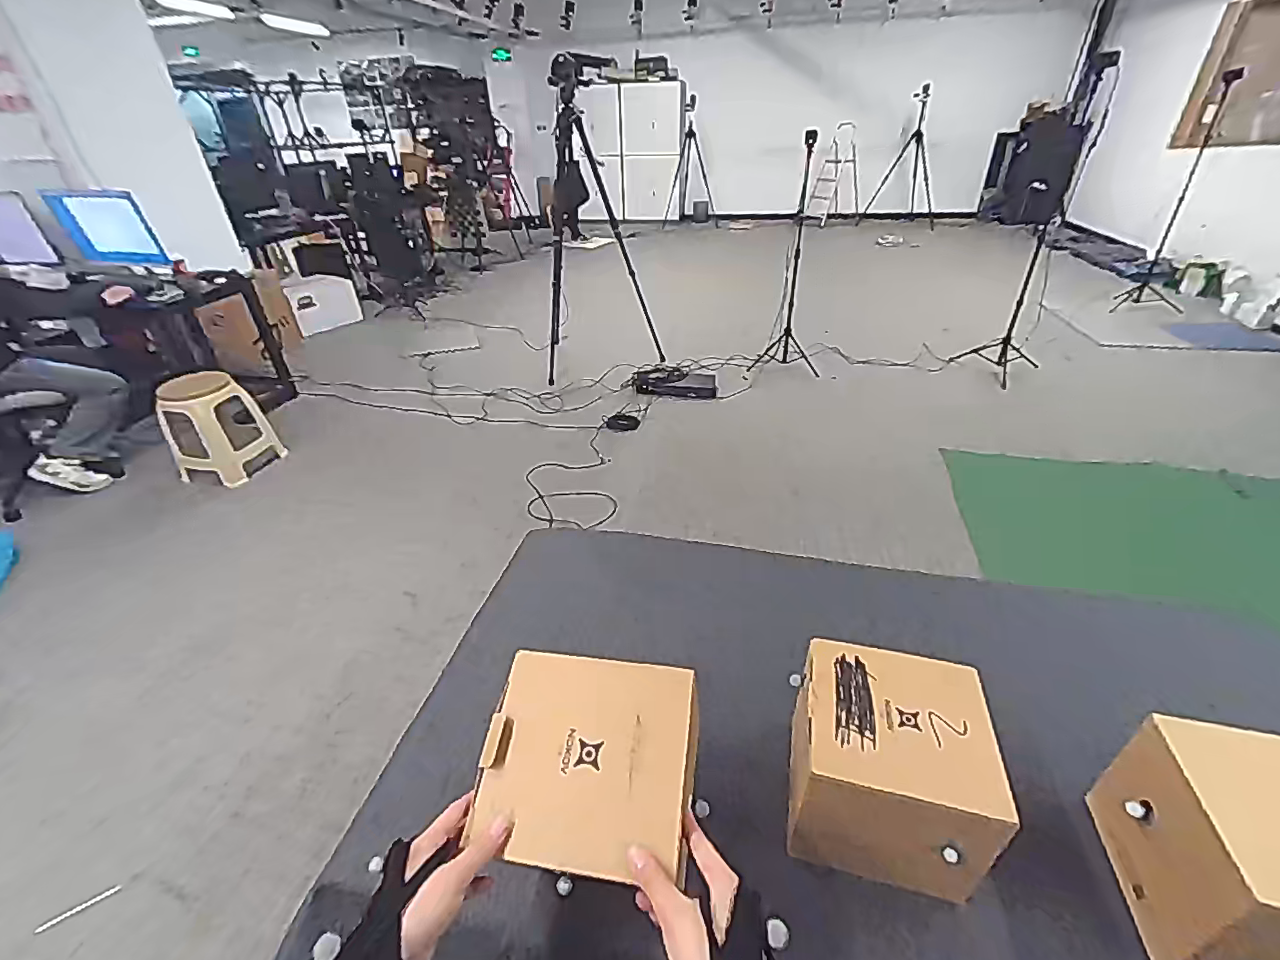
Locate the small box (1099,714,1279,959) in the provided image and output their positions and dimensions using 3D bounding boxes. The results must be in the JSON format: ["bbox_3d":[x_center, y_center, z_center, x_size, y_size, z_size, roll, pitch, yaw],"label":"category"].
[{"bbox_3d":[0.569,0.351,0.494,0.179,0.176,0.168,7,34,13],"label":"small box"}]
